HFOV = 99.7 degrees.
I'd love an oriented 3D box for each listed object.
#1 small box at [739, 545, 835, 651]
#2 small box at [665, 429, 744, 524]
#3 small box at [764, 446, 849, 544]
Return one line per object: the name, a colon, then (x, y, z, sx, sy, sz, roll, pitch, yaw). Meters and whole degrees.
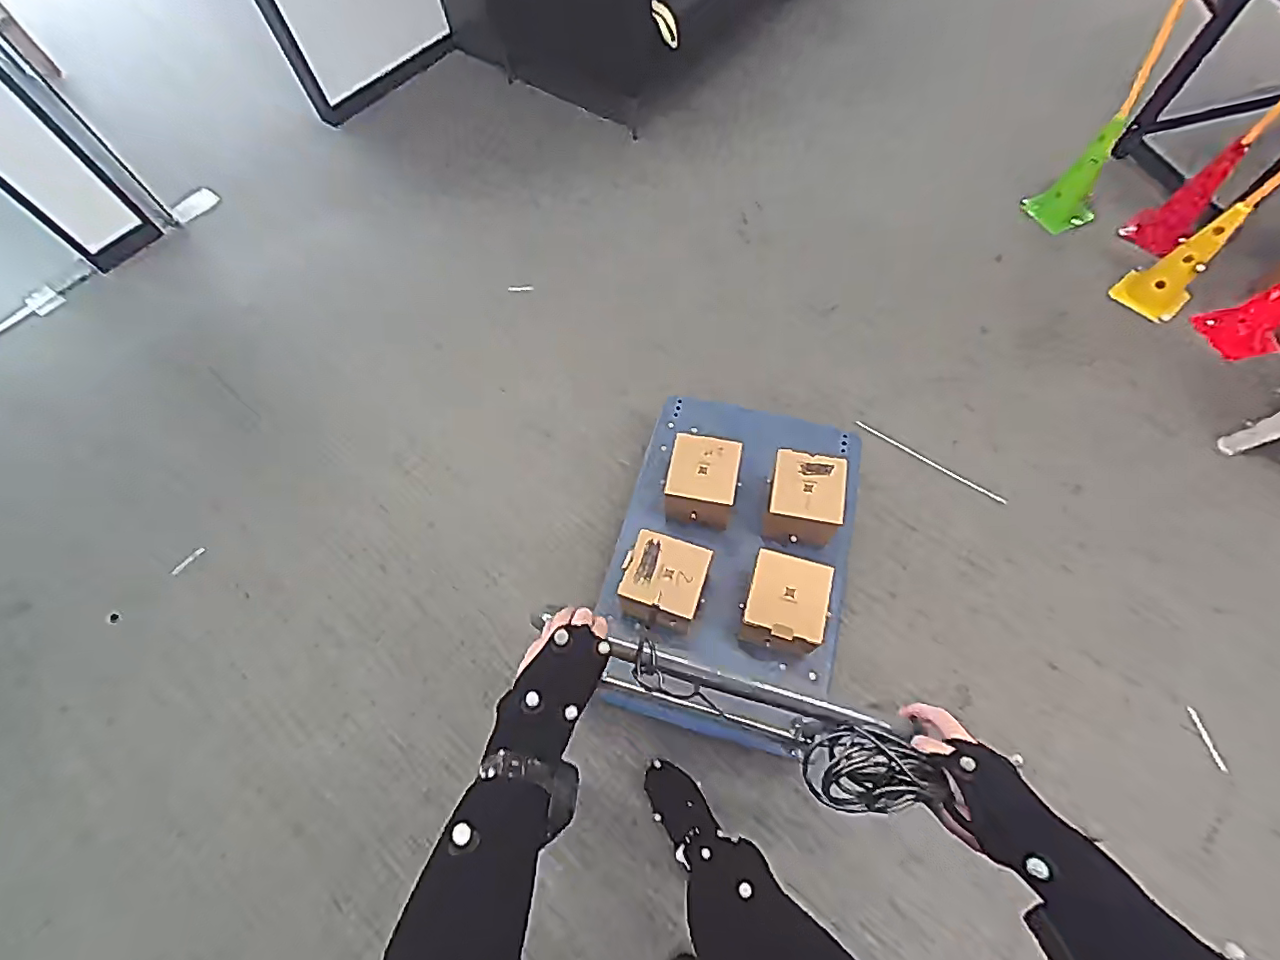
small box: (0.331, 0.274, 1.239, 0.168, 0.176, 0.179, 15, 66, 11)
small box: (0.164, -0.003, 1.386, 0.168, 0.176, 0.179, 11, 65, 8)
small box: (0.409, 0.040, 1.348, 0.168, 0.176, 0.179, 10, 66, 9)
